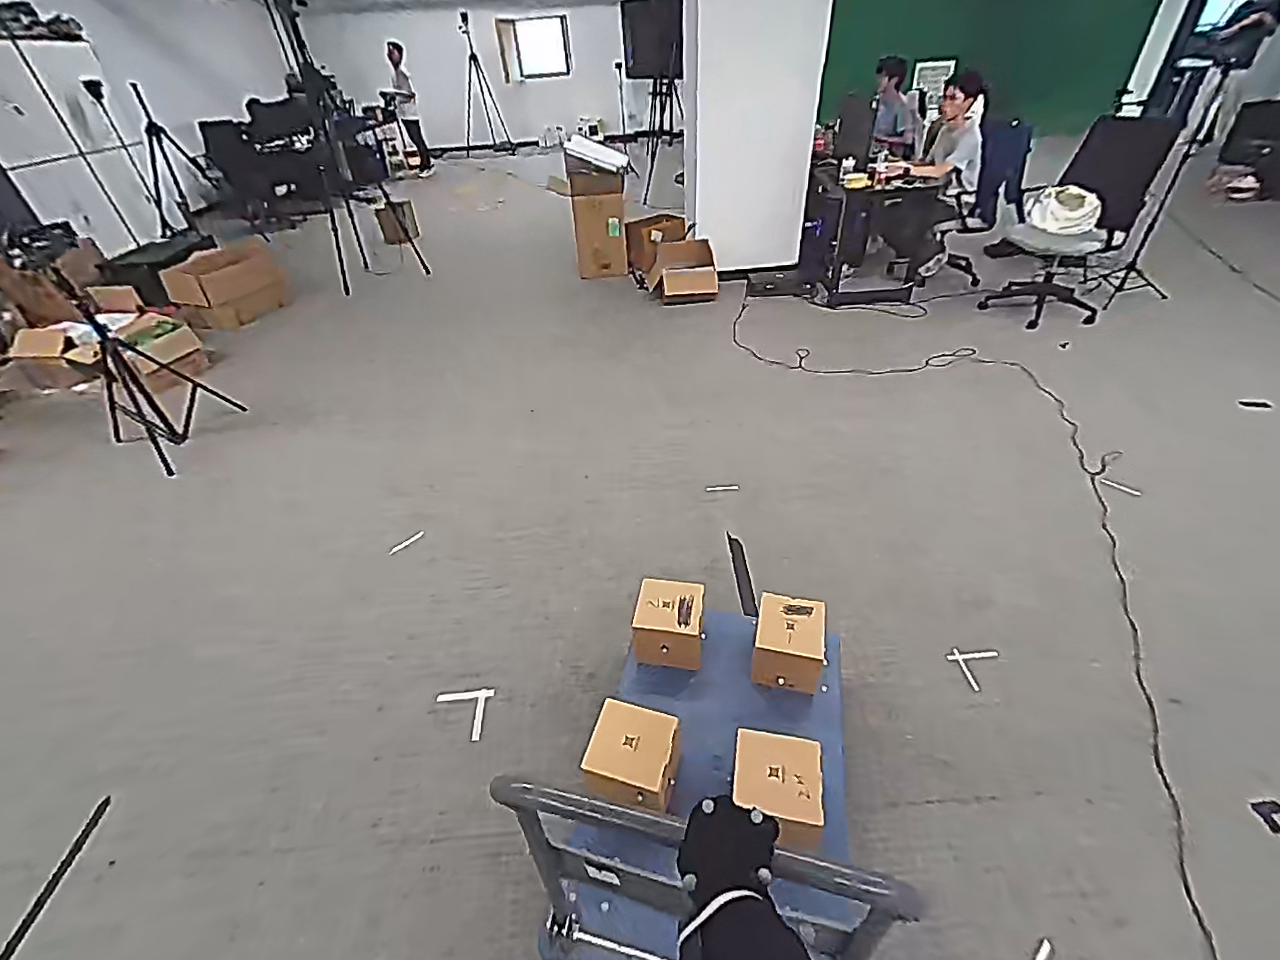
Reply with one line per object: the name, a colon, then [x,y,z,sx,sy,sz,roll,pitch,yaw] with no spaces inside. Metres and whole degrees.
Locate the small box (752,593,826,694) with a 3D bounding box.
small box: [0.391,0.431,1.427,0.168,0.176,0.179,8,42,14]

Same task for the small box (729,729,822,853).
small box: [0.285,0.663,1.151,0.179,0.176,0.168,5,40,12]

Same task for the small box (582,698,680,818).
small box: [-0.015,0.629,1.221,0.179,0.176,0.168,10,41,14]
